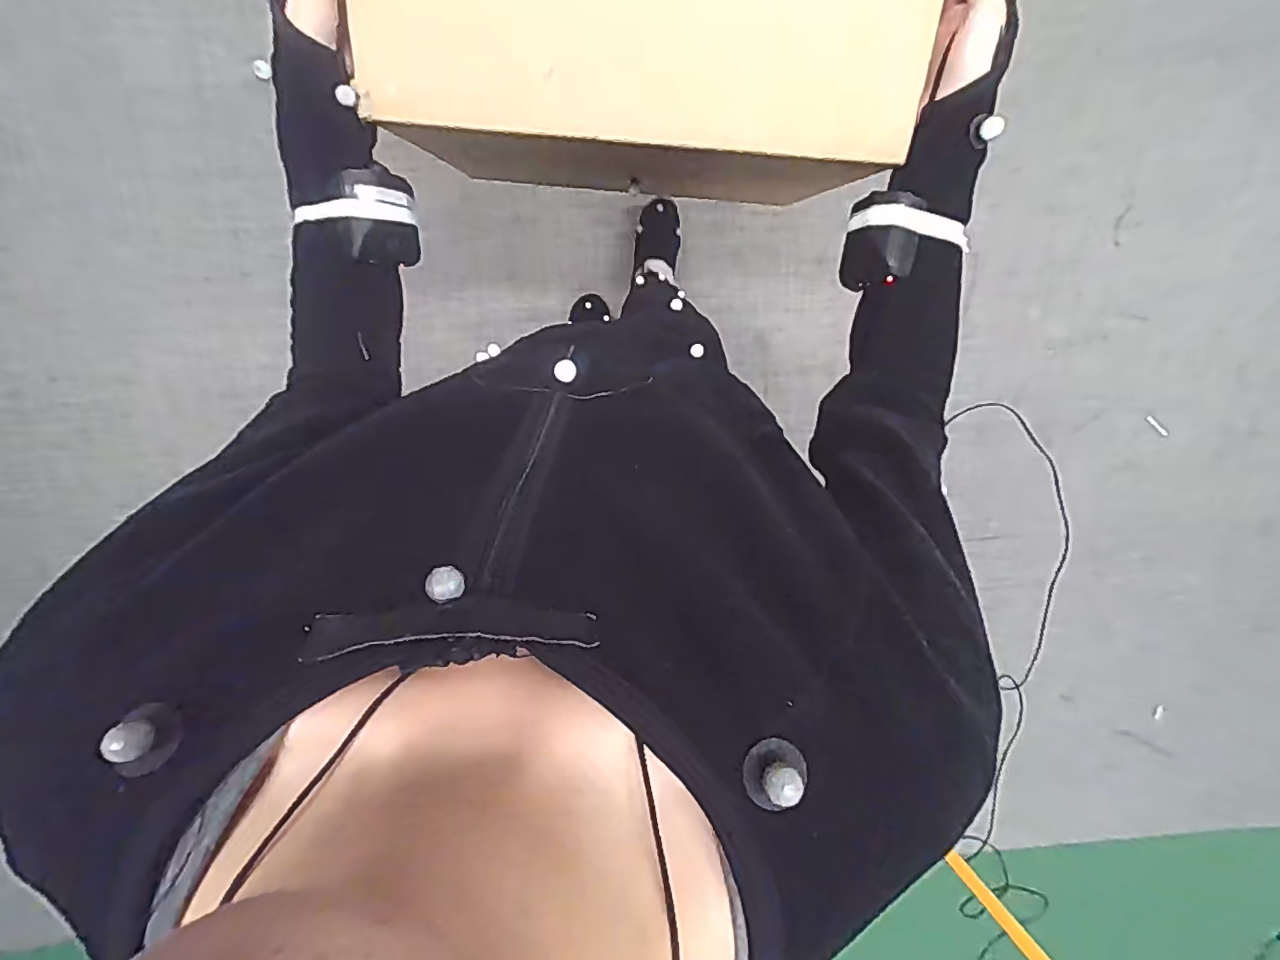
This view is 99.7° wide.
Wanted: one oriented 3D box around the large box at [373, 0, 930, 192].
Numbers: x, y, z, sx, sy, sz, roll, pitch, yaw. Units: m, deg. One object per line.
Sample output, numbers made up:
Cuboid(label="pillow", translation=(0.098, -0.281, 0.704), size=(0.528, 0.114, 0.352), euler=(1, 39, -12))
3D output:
Cuboid(label="large box", translation=(0.013, -0.458, 0.495), size=(0.408, 0.320, 0.320), euler=(3, 111, -2))
